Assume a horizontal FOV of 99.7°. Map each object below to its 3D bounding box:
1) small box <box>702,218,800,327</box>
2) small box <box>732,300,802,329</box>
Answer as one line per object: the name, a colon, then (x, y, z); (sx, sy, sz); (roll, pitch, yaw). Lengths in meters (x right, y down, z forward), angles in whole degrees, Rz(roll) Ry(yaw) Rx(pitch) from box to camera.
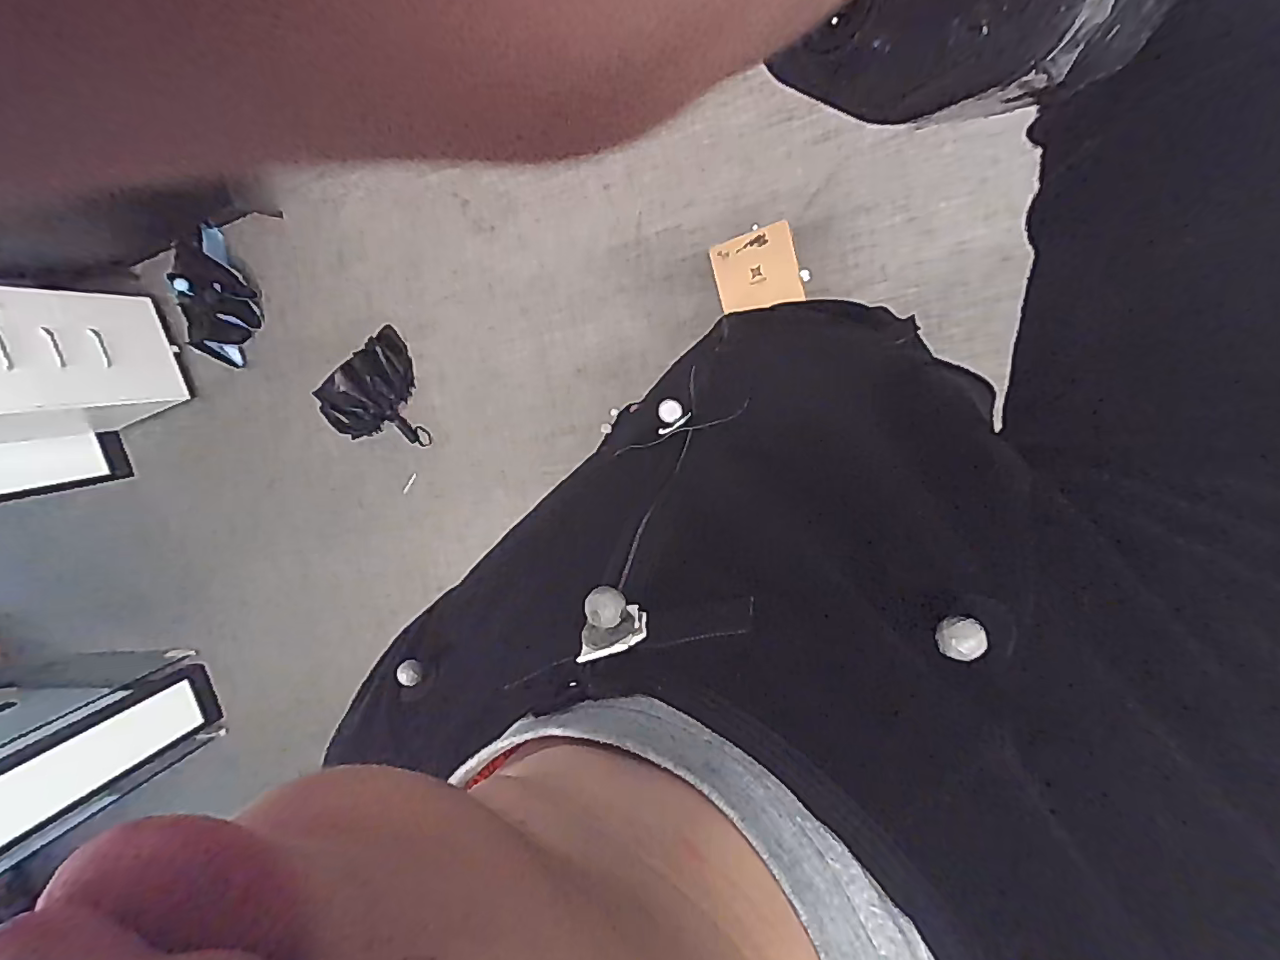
small box: (0.250, -0.445, 1.183); (0.168, 0.176, 0.179); (-12, 100, 21)
small box: (0.297, -0.482, 1.335); (0.168, 0.176, 0.179); (-14, 100, 22)
